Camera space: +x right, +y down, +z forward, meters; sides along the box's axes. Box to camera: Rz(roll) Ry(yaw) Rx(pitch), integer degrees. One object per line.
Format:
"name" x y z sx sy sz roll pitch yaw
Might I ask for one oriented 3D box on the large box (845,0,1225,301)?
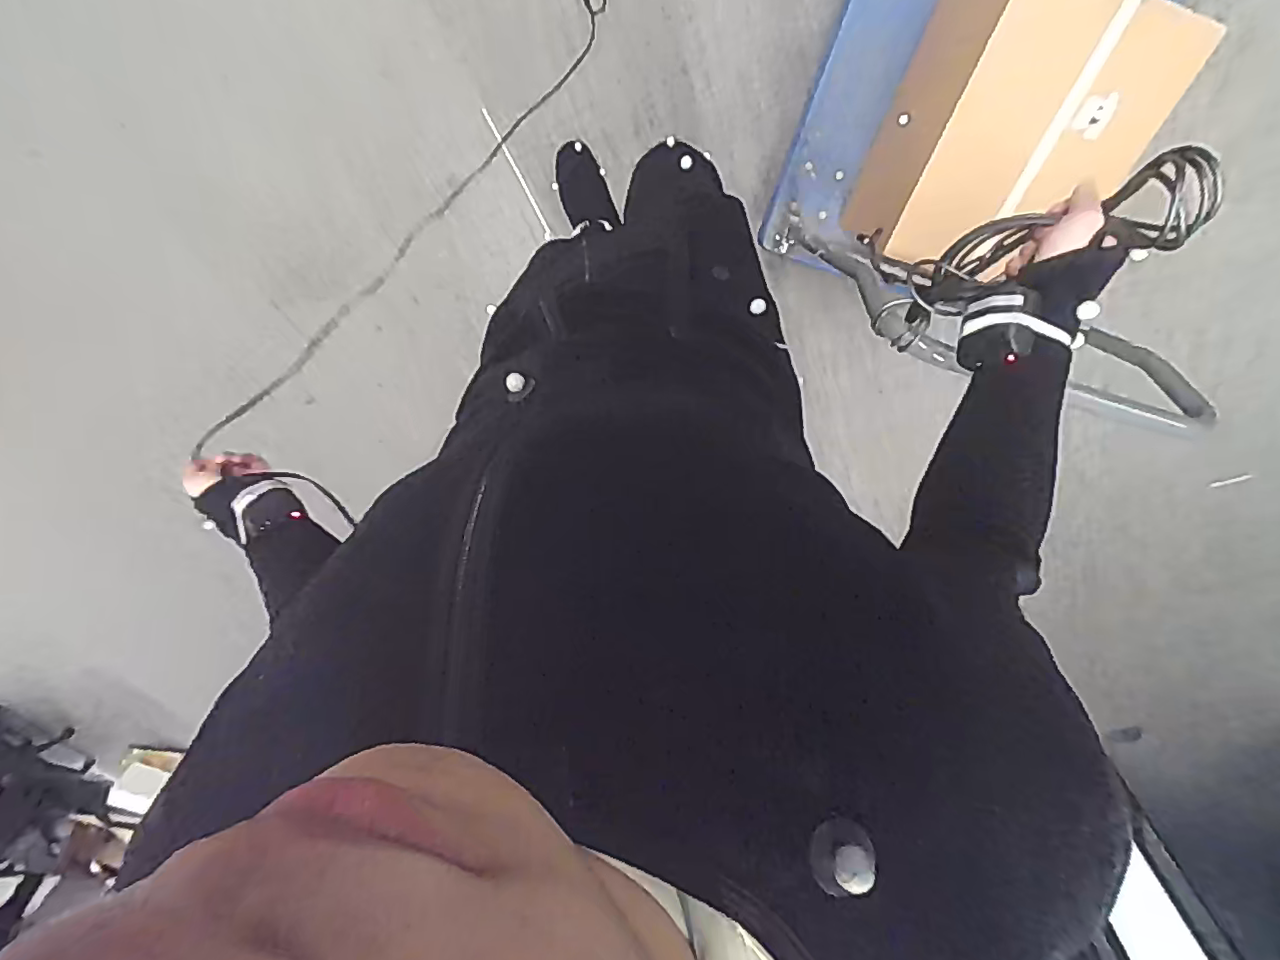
"large box" 0.630 -0.593 0.969 0.320 0.320 0.408 14 124 -7
